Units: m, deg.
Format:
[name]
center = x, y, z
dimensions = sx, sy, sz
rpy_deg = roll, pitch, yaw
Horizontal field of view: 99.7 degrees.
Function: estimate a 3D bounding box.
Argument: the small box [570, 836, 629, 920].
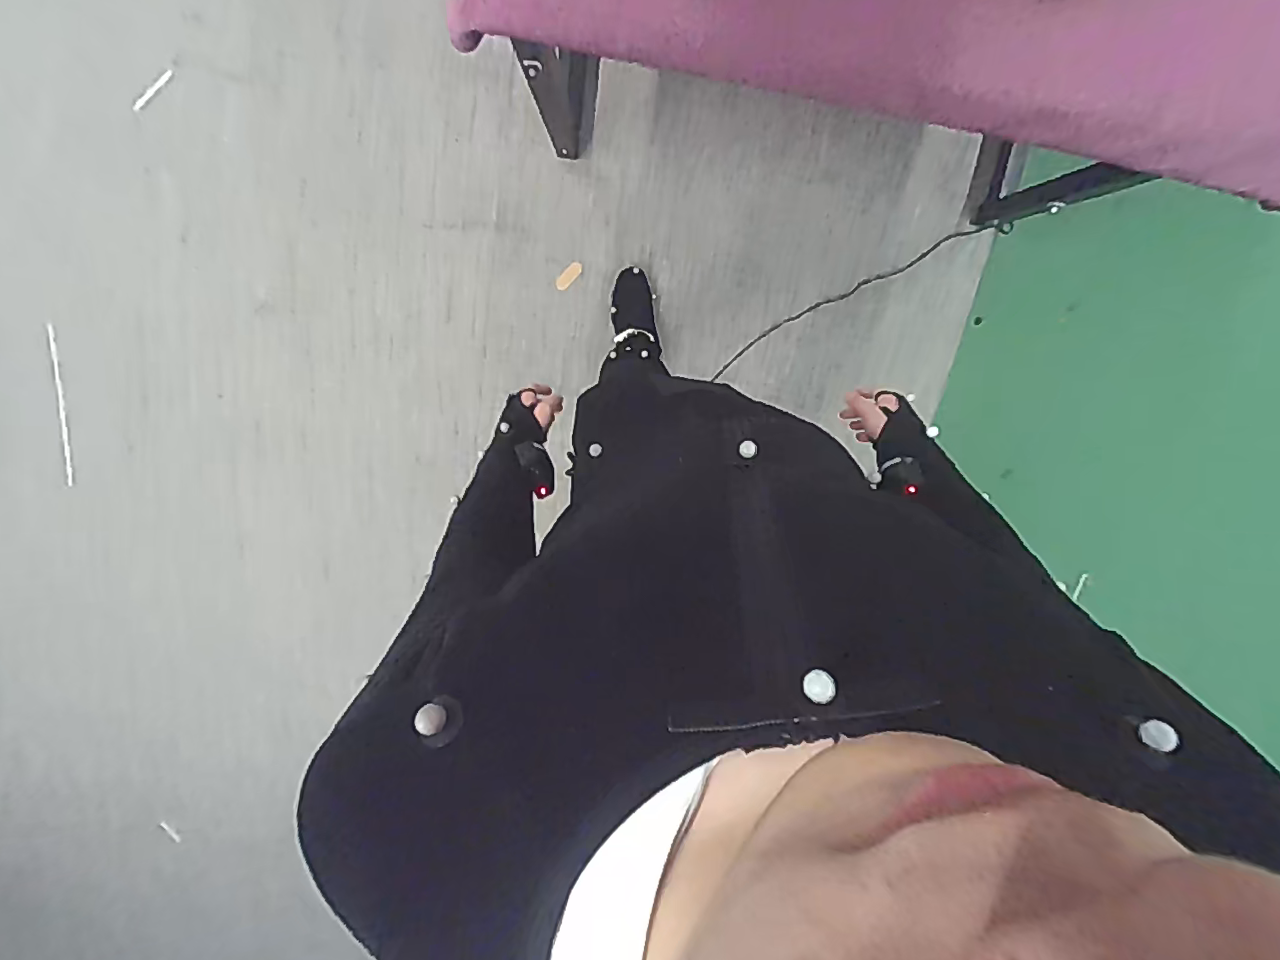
[small box]
center = -0.140, 1.407, 1.922
dimensions = 0.179, 0.176, 0.168
rpy_deg = 12, 105, -4
